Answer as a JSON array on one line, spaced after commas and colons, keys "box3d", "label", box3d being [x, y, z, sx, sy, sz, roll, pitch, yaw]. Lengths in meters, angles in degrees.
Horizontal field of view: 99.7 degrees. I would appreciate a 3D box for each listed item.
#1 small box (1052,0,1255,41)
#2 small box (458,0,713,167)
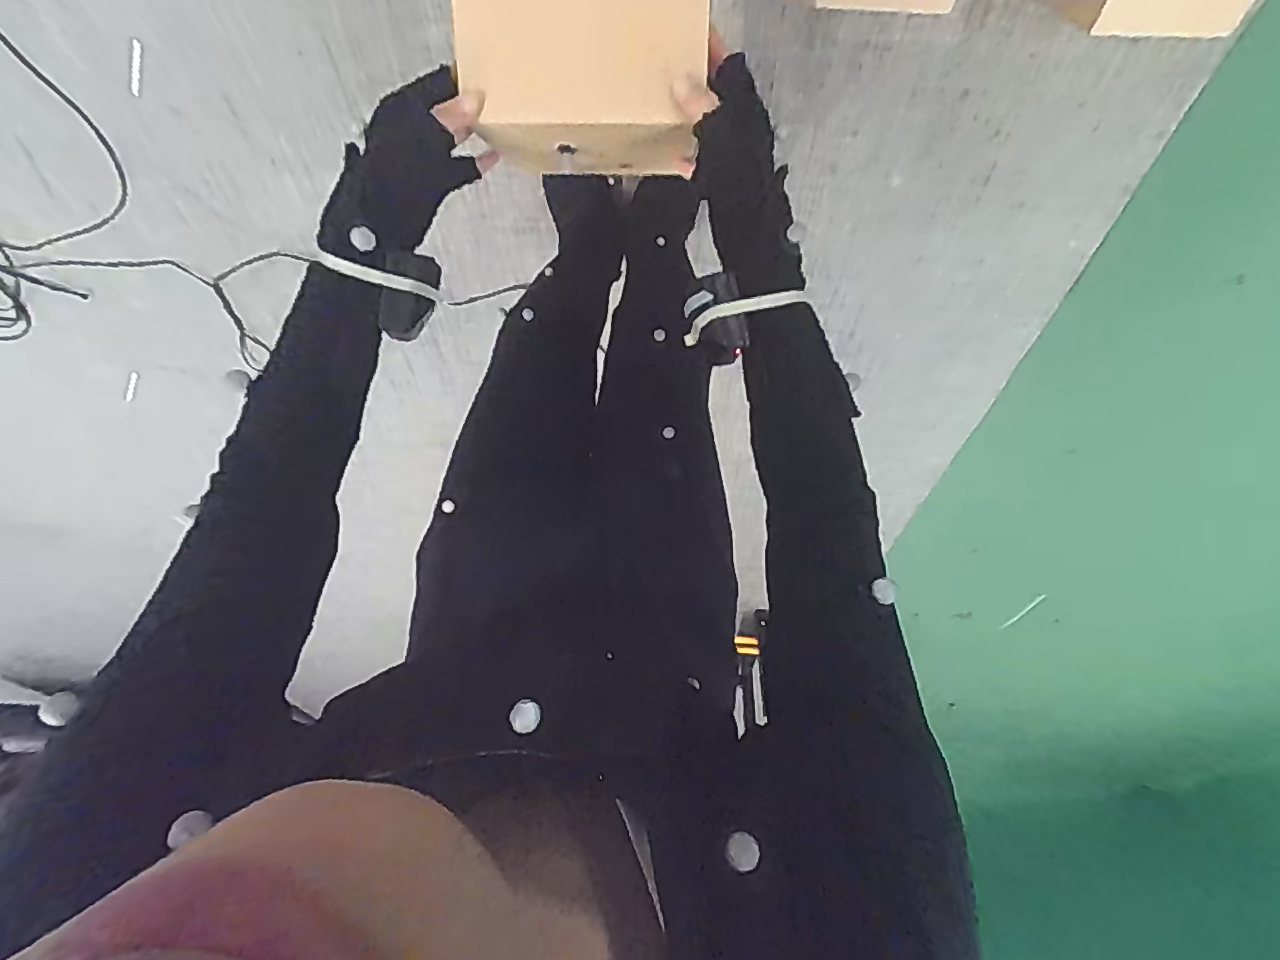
[{"box3d": [0.624, -0.644, 0.627, 0.168, 0.176, 0.179, 2, 142, 1], "label": "small box"}, {"box3d": [-0.030, -0.348, 0.408, 0.168, 0.176, 0.179, 1, 109, 2], "label": "small box"}]
